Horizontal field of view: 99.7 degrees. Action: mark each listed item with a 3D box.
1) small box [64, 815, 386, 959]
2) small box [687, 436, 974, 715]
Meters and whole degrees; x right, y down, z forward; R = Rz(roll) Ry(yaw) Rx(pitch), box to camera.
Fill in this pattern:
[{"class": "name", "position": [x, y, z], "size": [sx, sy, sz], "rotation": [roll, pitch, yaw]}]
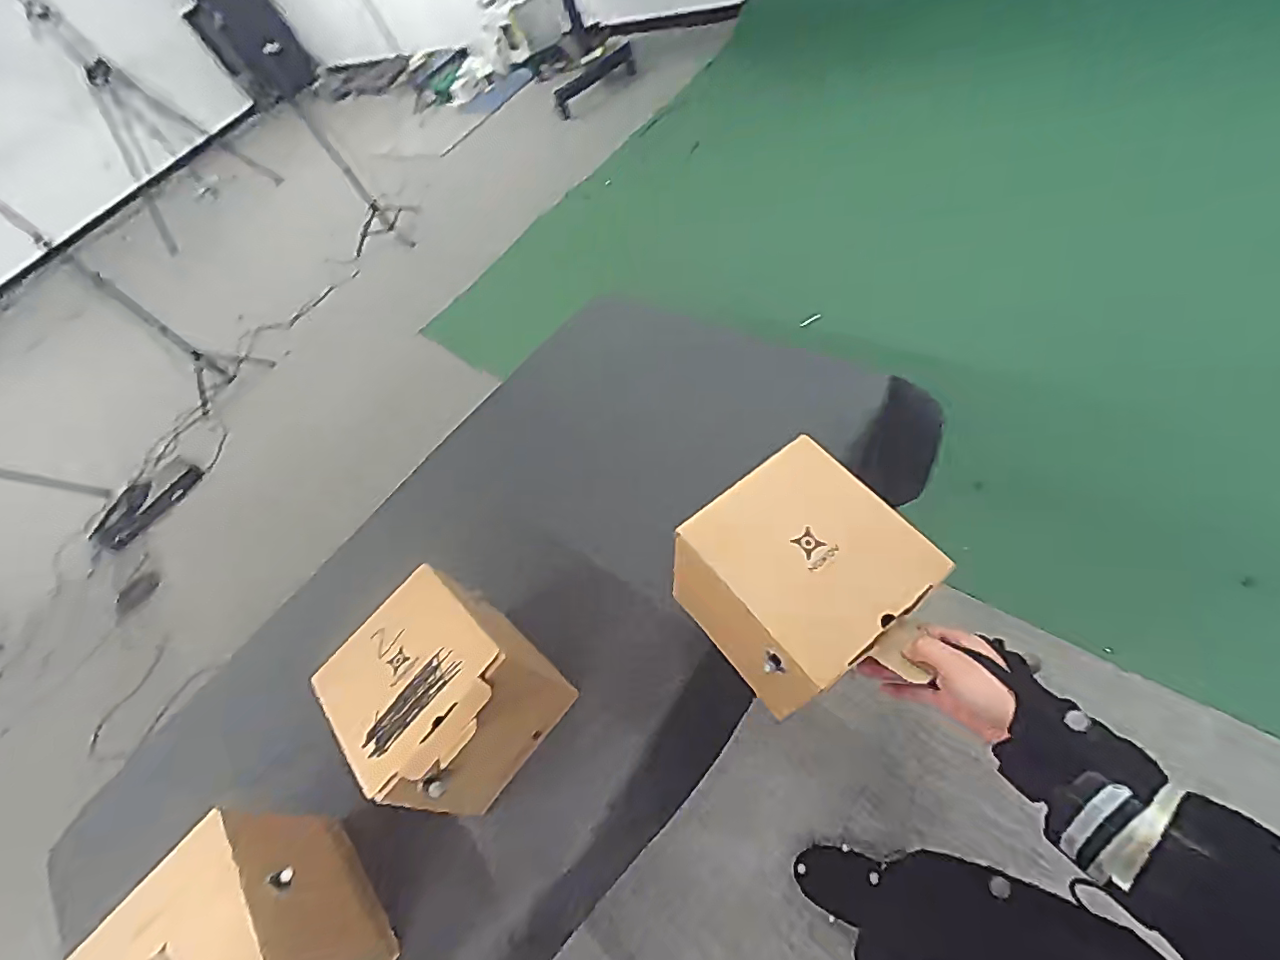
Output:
[{"class": "small box", "position": [-0.378, 0.454, 0.506], "size": [0.179, 0.176, 0.168], "rotation": [30, 70, 37]}, {"class": "small box", "position": [0.159, 0.097, 0.521], "size": [0.168, 0.176, 0.179], "rotation": [-32, 64, -17]}]
